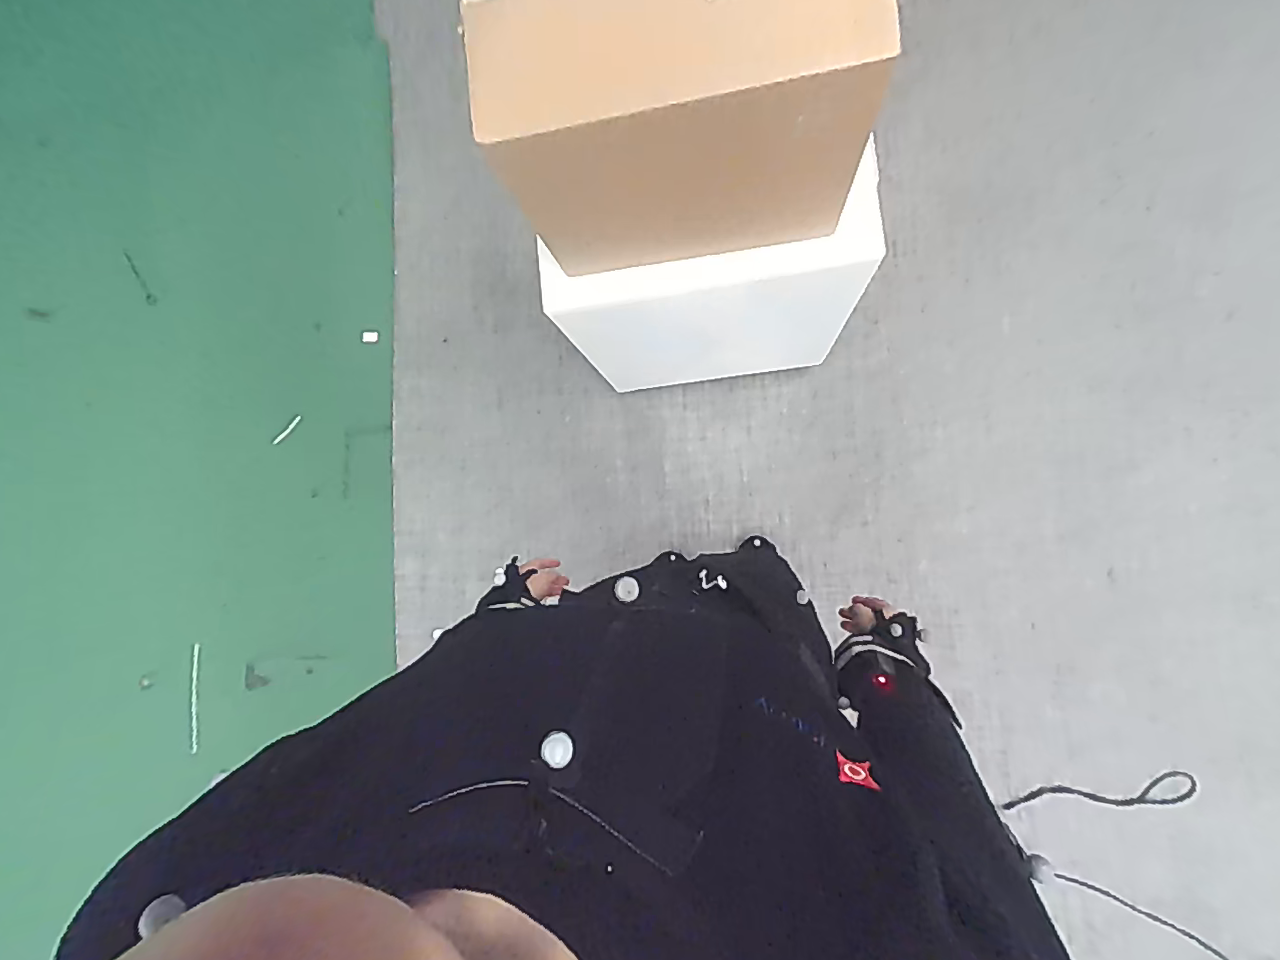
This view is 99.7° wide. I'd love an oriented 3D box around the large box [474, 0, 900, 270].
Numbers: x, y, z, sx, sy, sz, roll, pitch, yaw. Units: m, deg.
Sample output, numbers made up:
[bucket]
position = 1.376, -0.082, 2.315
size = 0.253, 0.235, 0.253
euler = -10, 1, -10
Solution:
[large box]
position = 0.045, -0.502, 0.672
size = 0.408, 0.320, 0.320
euler = -6, 86, 8
